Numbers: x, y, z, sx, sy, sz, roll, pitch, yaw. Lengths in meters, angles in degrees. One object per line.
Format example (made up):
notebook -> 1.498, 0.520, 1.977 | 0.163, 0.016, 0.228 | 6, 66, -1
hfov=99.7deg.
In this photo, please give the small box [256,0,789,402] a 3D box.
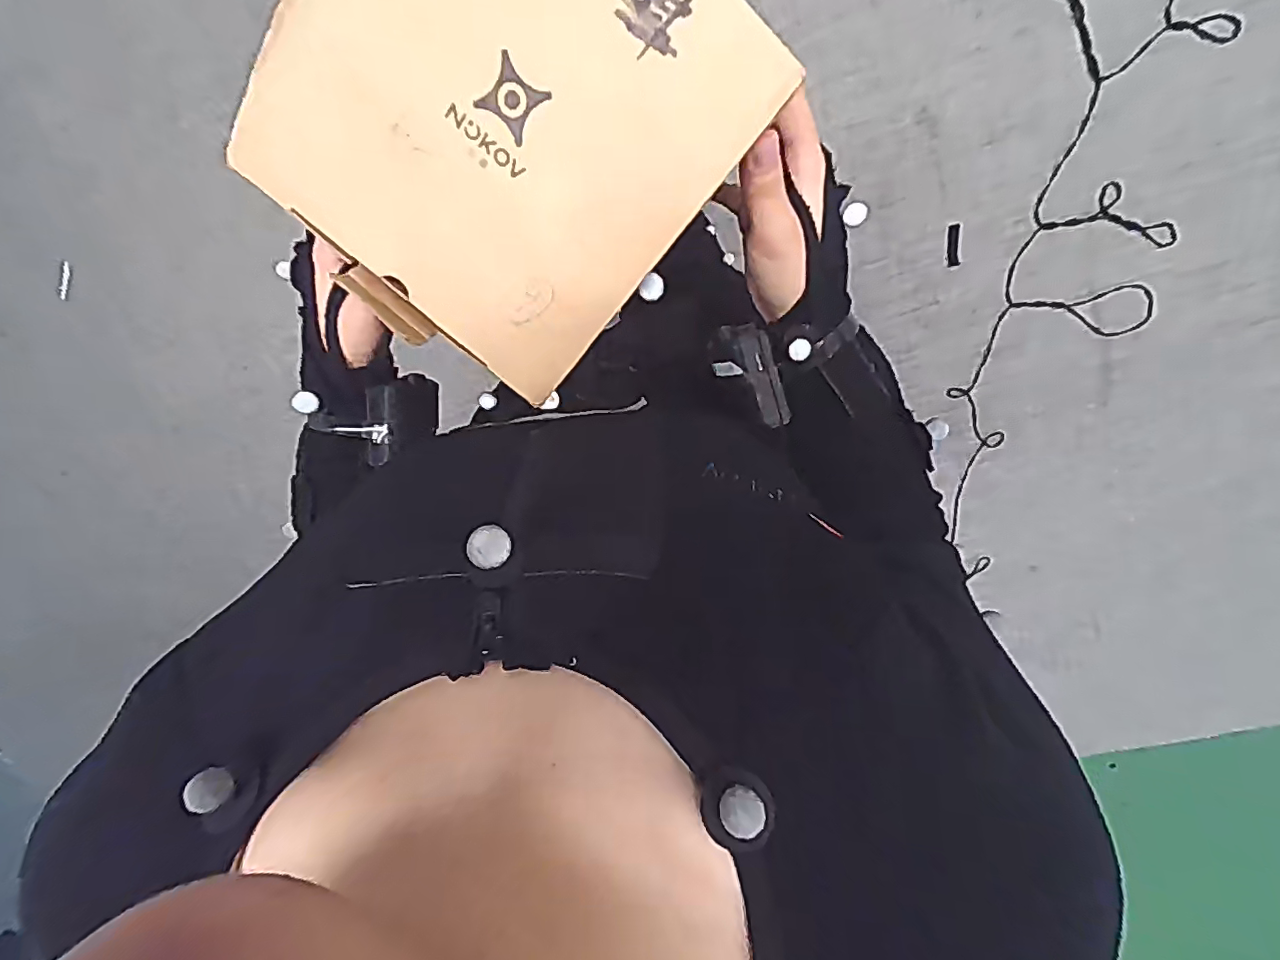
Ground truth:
small box -> -0.048, -0.178, 0.295 | 0.168, 0.176, 0.179 | 38, 113, -14
